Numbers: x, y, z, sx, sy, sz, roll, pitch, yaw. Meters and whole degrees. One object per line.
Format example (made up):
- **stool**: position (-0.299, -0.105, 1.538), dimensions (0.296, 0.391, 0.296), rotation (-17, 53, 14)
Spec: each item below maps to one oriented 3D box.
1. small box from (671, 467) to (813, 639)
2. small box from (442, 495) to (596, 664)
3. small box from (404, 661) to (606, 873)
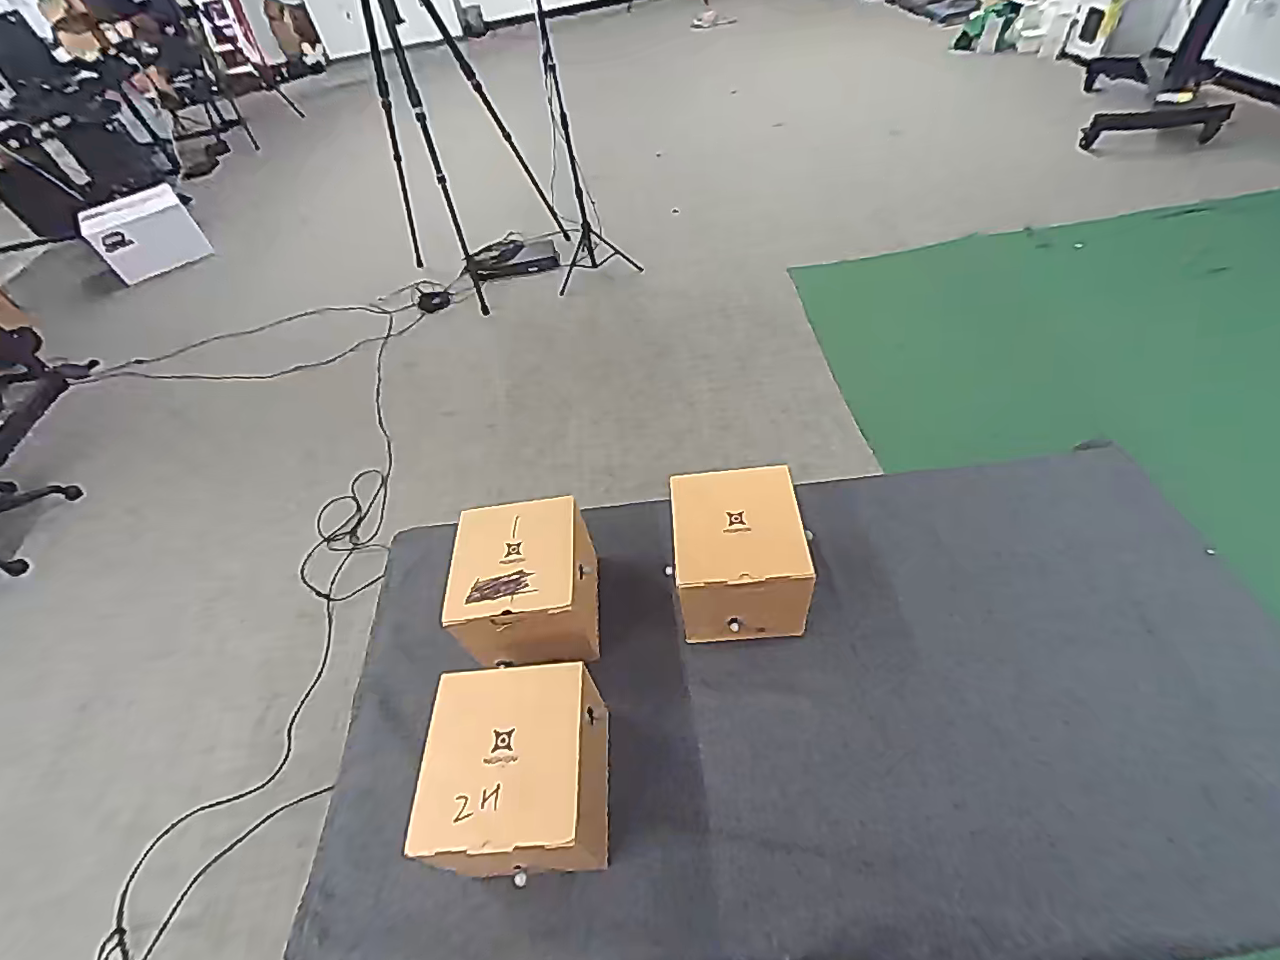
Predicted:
- **small box**: position (0.133, 0.105, 0.760), dimensions (0.168, 0.176, 0.179), rotation (-5, 51, 5)
- **small box**: position (-0.157, 0.148, 0.767), dimensions (0.168, 0.176, 0.179), rotation (-7, 50, 3)
- **small box**: position (-0.133, 0.327, 0.613), dimensions (0.168, 0.176, 0.179), rotation (-6, 48, 4)
